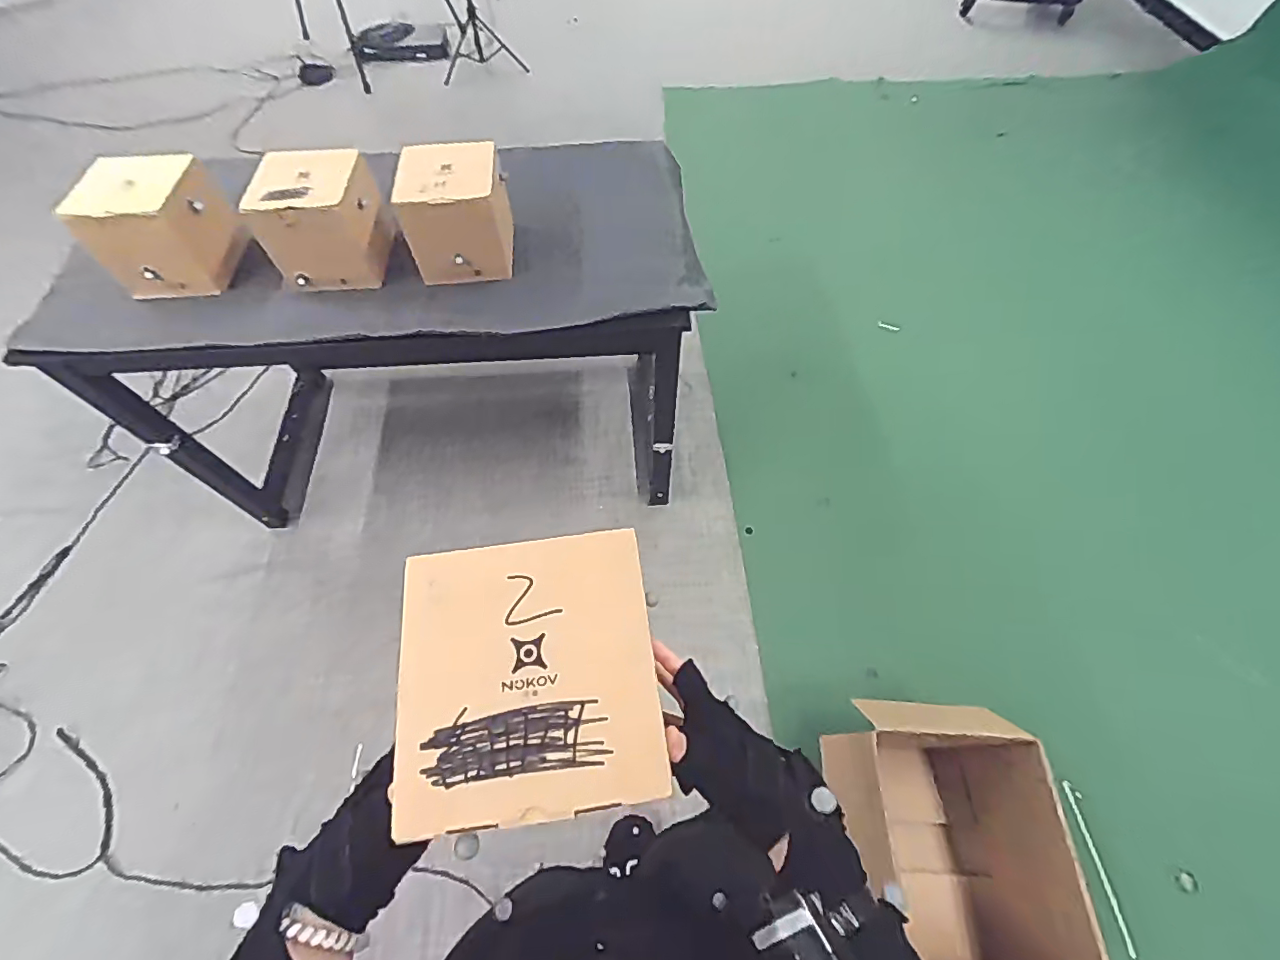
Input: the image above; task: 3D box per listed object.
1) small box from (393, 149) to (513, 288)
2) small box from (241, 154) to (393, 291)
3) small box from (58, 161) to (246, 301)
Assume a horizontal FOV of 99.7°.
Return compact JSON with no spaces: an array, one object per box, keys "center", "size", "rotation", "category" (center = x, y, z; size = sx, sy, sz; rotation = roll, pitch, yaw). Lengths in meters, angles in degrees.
[{"center":[-0.336,-0.484,1.008],"size":[0.168,0.176,0.179],"rotation":[-5,60,-3],"category":"small box"},{"center":[-0.578,-0.466,0.996],"size":[0.168,0.176,0.179],"rotation":[-3,59,-2],"category":"small box"},{"center":[-0.865,-0.451,0.985],"size":[0.168,0.176,0.179],"rotation":[-4,59,-4],"category":"small box"}]
